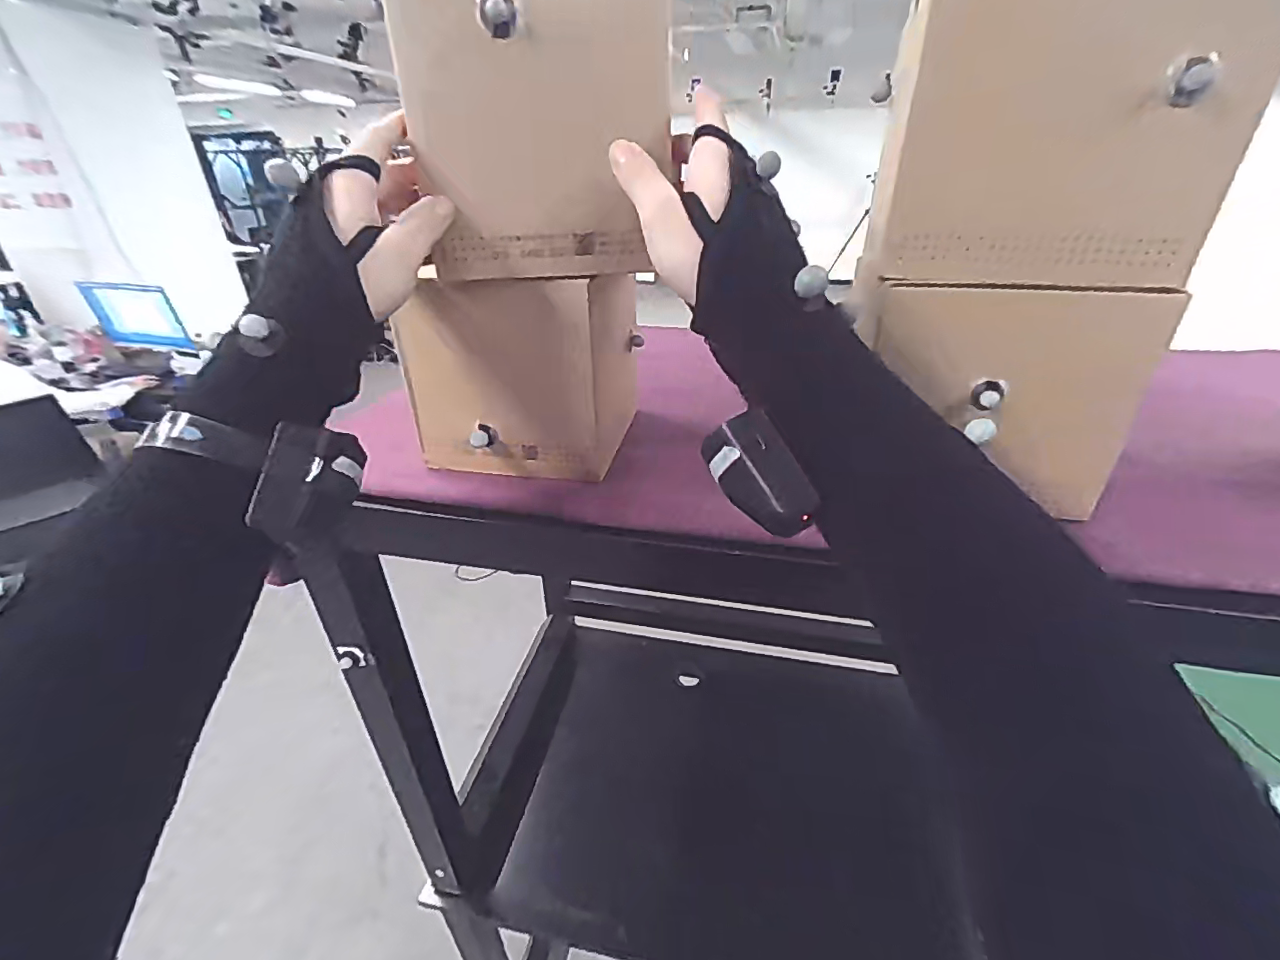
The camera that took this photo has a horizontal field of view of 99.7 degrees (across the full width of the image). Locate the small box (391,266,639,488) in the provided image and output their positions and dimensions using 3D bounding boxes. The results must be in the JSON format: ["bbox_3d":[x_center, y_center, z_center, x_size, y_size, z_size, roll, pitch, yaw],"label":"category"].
[{"bbox_3d":[-0.097,-0.110,0.509,0.168,0.176,0.179,4,29,10],"label":"small box"}]

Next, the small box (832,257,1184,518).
[{"bbox_3d":[0.266,-0.083,0.448,0.179,0.176,0.168,5,28,13],"label":"small box"}]

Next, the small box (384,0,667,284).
[{"bbox_3d":[-0.069,-0.250,0.420,0.168,0.176,0.179,-4,27,-1],"label":"small box"}]
